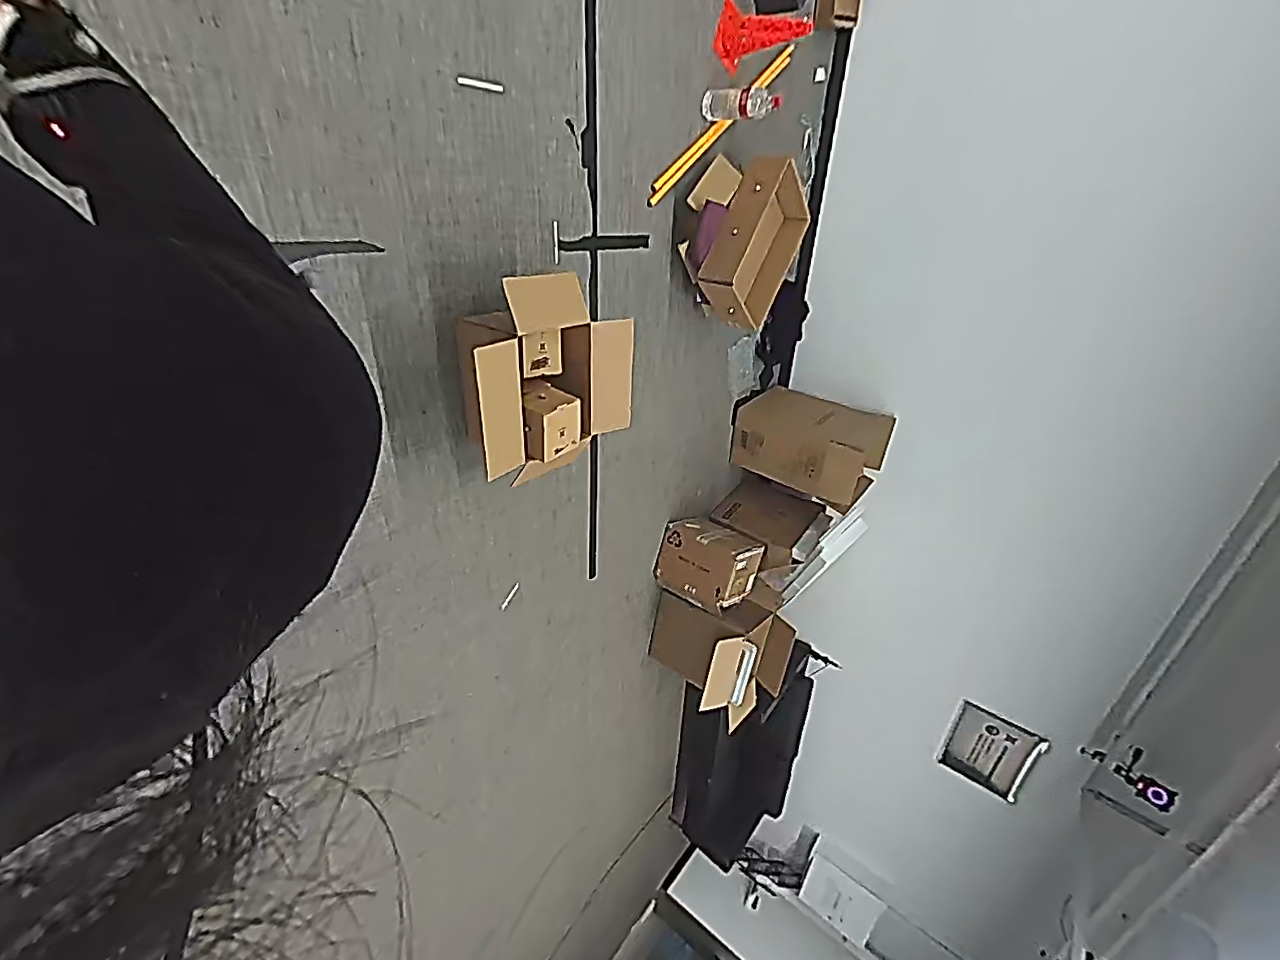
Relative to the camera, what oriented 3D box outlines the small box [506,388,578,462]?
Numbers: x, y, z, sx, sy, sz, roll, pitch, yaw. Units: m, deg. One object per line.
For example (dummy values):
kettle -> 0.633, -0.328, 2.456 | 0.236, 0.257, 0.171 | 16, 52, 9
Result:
small box -> -0.320, -0.189, 1.763 | 0.168, 0.176, 0.179 | -33, 138, -43
